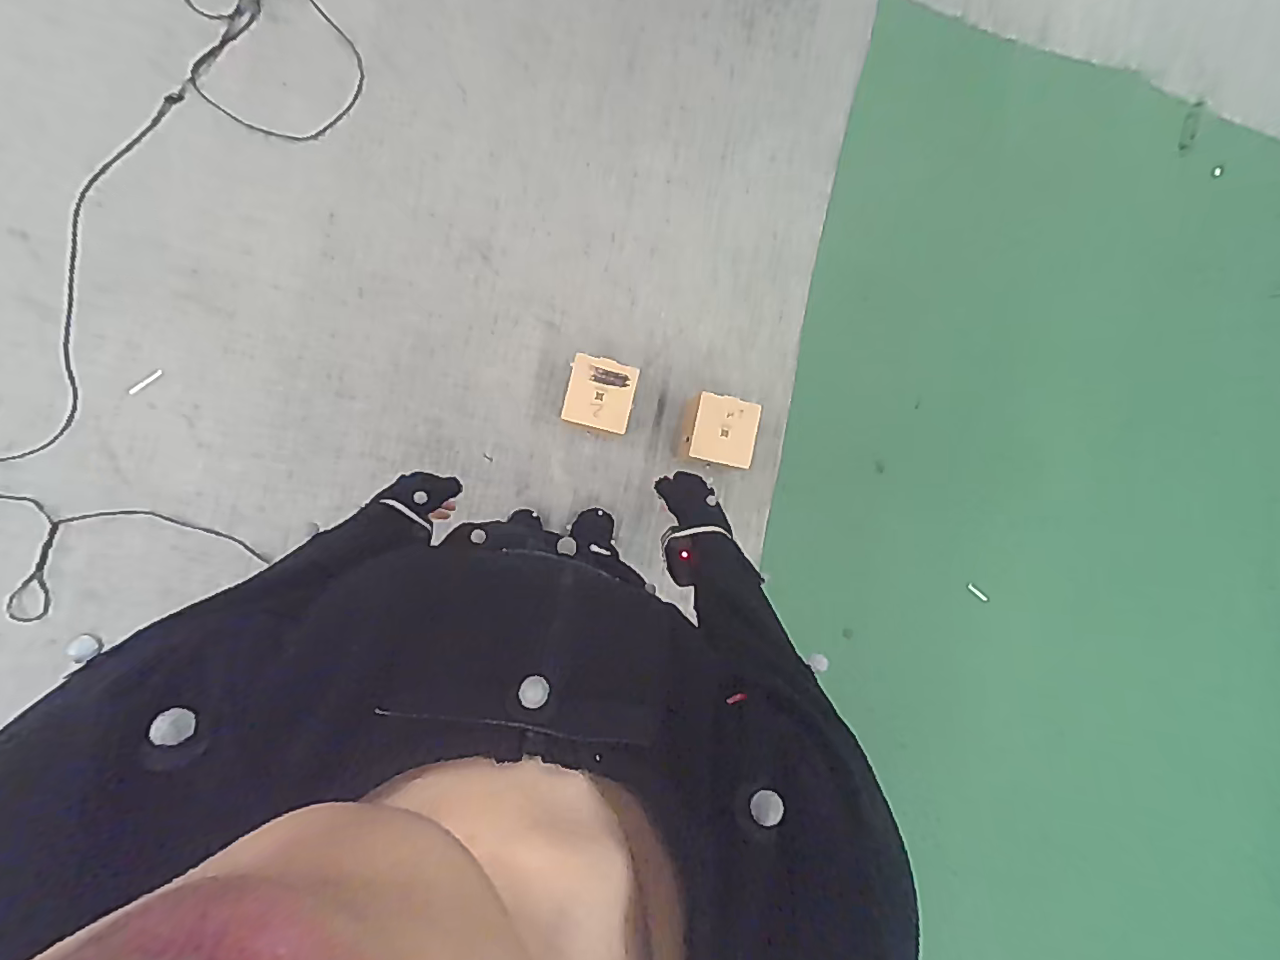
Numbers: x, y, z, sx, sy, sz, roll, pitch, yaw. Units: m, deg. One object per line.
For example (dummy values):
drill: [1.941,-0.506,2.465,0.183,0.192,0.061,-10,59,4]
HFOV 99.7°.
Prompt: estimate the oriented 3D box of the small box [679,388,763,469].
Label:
small box: [0.209,-0.130,1.457,0.168,0.176,0.179,13,87,-8]
